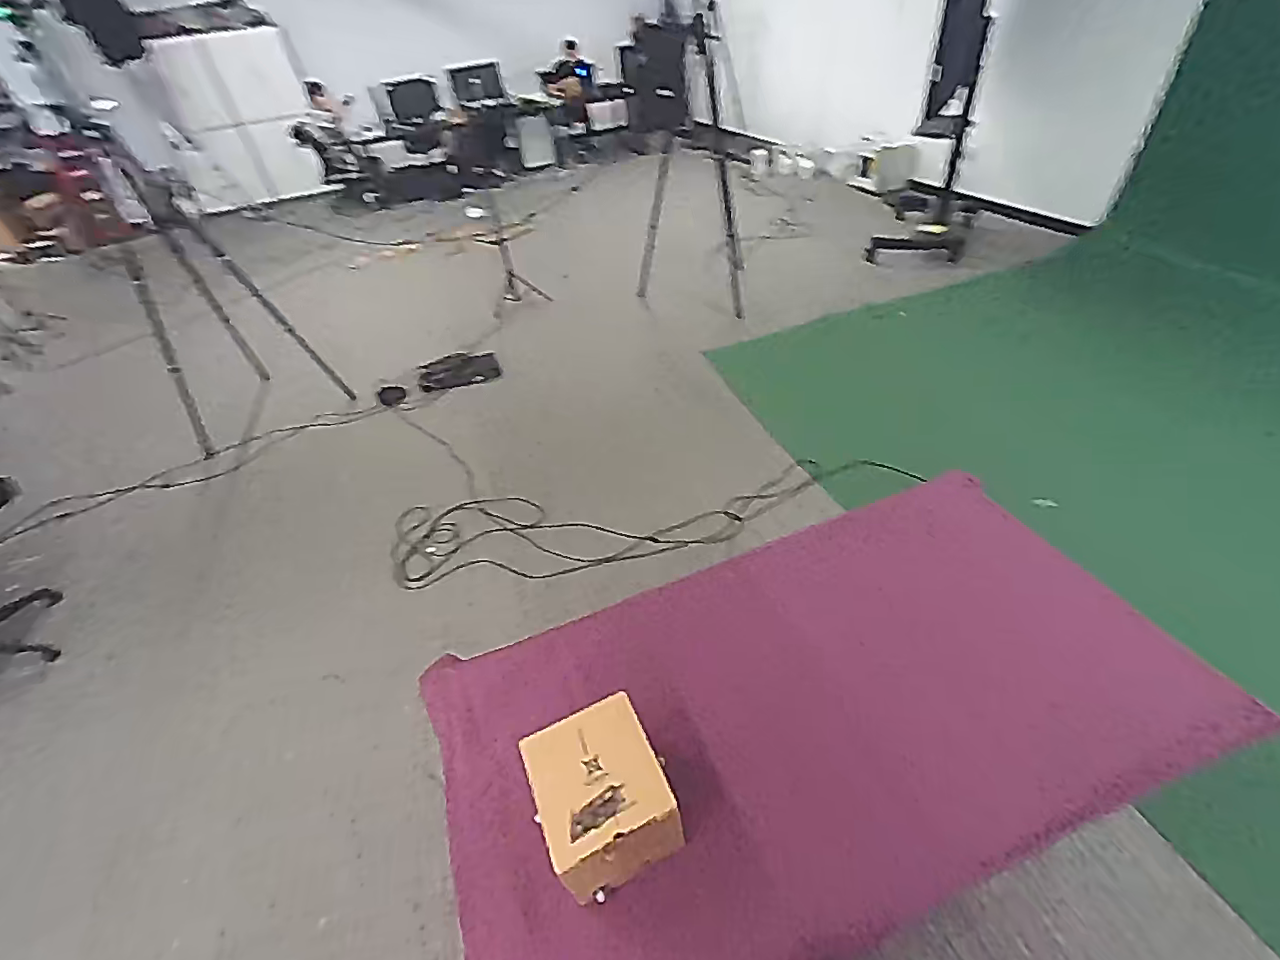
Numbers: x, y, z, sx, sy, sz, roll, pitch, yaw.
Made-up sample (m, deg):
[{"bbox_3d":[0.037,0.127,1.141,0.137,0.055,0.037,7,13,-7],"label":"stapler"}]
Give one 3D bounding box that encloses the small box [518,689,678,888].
[{"bbox_3d":[-0.056,0.444,0.772,0.168,0.176,0.179,-21,42,-14],"label":"small box"}]
